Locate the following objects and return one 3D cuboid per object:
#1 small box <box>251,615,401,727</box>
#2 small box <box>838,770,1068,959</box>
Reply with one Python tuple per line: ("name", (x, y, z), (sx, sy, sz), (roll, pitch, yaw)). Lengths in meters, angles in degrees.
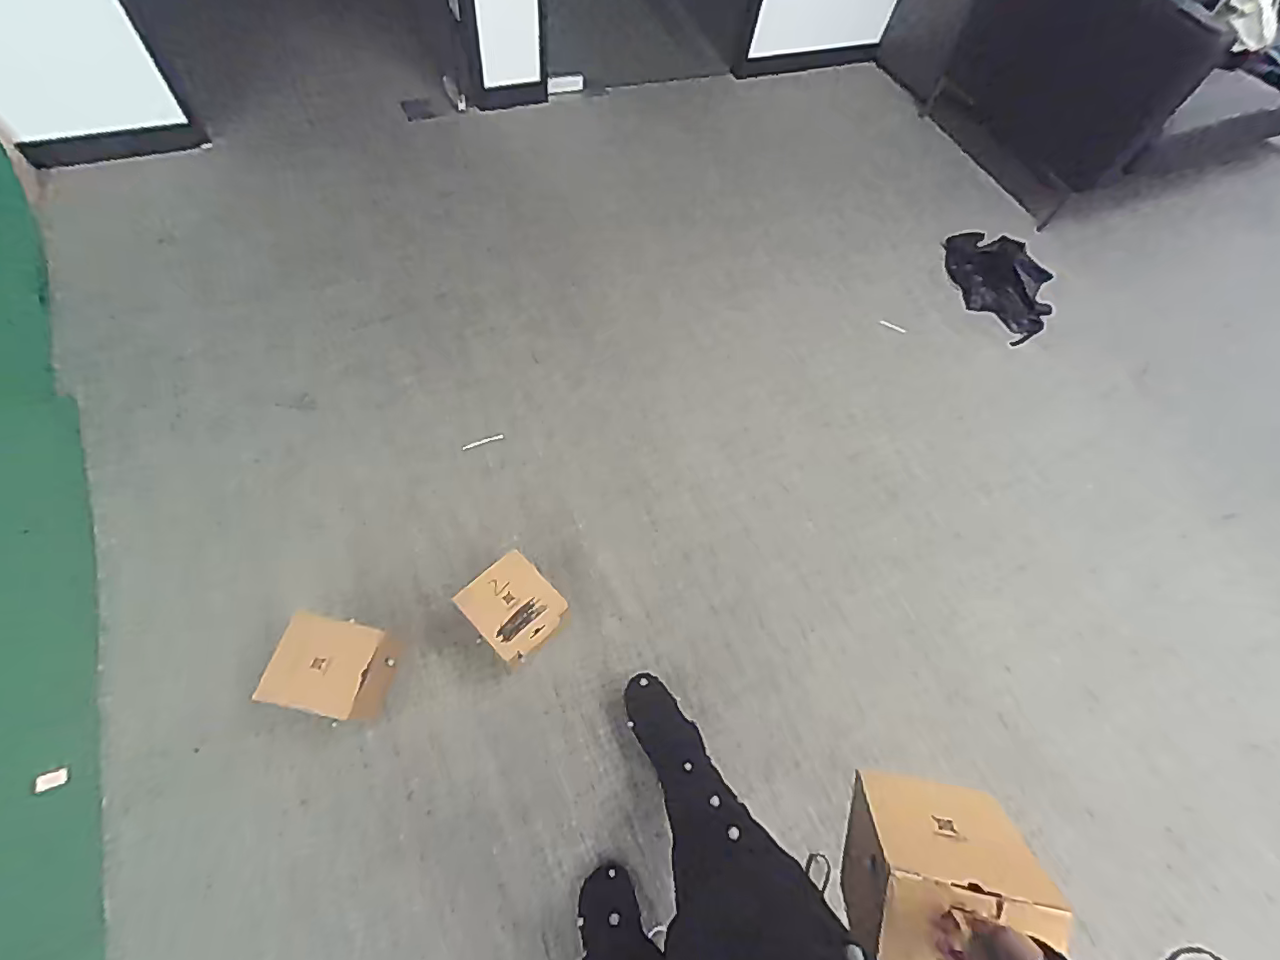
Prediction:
("small box", (-0.601, 0.383, 1.068), (0.179, 0.176, 0.168), (12, 60, -1))
("small box", (0.331, 0.474, 0.612), (0.168, 0.179, 0.176), (7, 95, 10))
